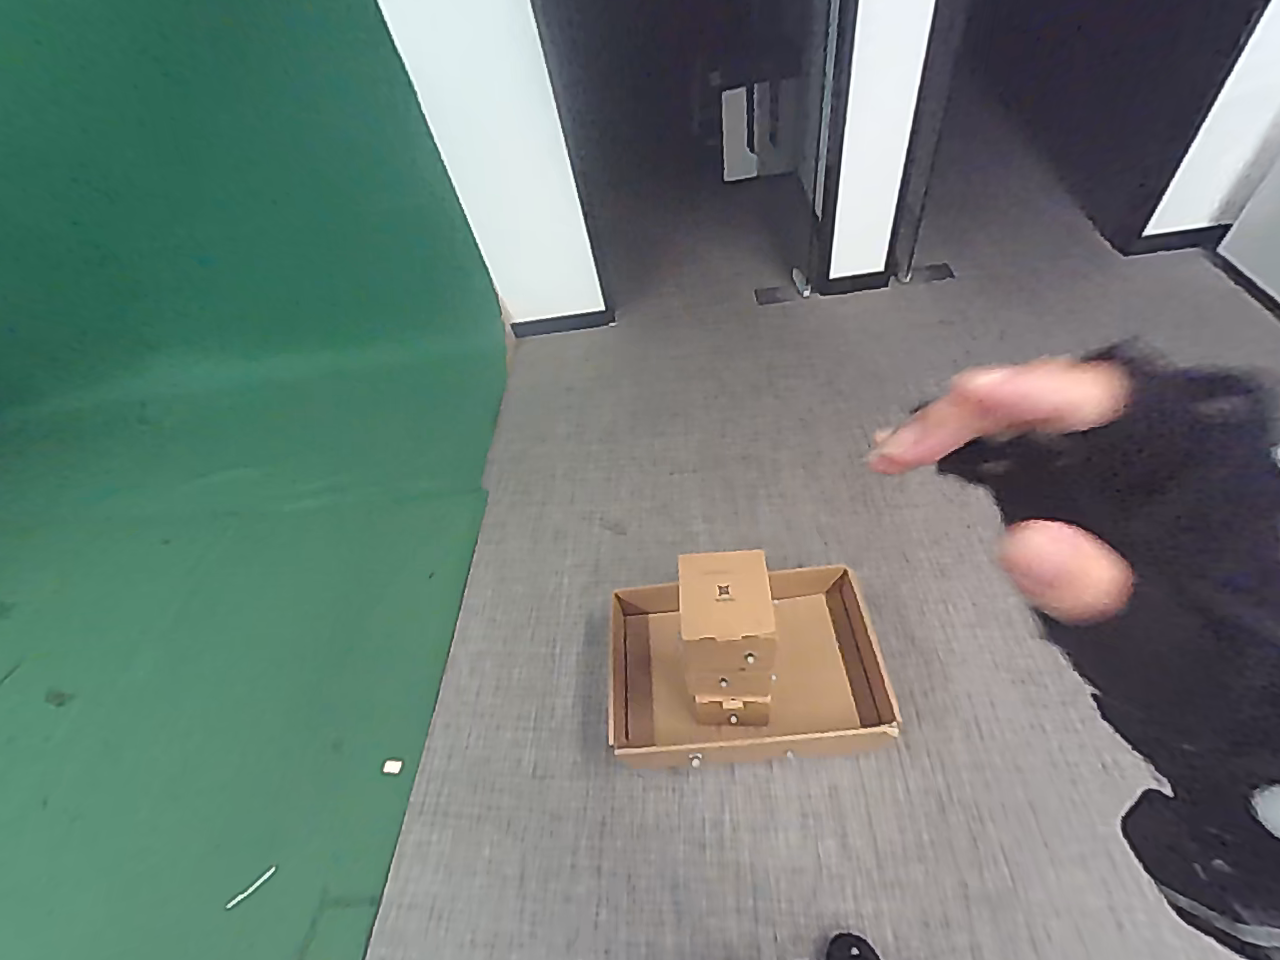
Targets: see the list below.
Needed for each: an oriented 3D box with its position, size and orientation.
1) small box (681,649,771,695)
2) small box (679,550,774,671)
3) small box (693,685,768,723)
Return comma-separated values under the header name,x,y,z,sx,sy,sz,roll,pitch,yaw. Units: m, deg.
name,x,y,z,sx,sy,sz,roll,pitch,yaw
small box,0.188,0.352,1.165,0.179,0.176,0.168,-1,49,12
small box,0.163,0.256,1.037,0.168,0.176,0.179,-4,48,6
small box,0.217,0.465,1.283,0.168,0.176,0.179,-2,51,9
